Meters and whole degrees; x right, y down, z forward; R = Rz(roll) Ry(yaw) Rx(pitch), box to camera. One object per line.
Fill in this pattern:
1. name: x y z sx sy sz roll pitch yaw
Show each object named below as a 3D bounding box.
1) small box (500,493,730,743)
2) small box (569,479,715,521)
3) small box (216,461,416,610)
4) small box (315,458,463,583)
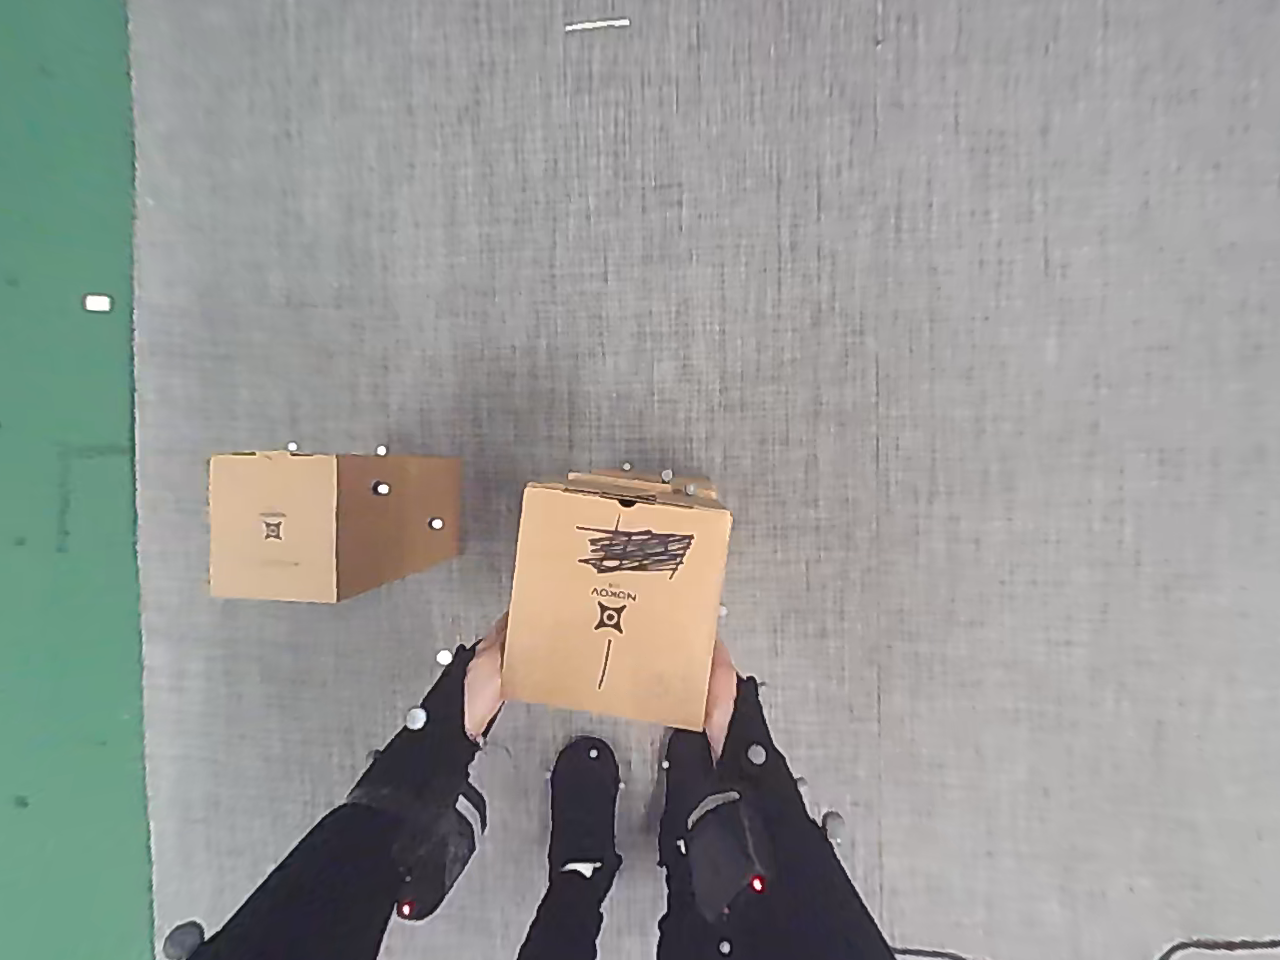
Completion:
1. small box: -0.017 0.110 0.510 0.168 0.176 0.179 8 93 4
2. small box: -0.002 0.094 0.677 0.168 0.176 0.179 7 93 6
3. small box: -0.417 0.063 0.720 0.168 0.176 0.179 0 93 7
4. small box: -0.403 0.057 0.882 0.168 0.176 0.179 4 93 6
